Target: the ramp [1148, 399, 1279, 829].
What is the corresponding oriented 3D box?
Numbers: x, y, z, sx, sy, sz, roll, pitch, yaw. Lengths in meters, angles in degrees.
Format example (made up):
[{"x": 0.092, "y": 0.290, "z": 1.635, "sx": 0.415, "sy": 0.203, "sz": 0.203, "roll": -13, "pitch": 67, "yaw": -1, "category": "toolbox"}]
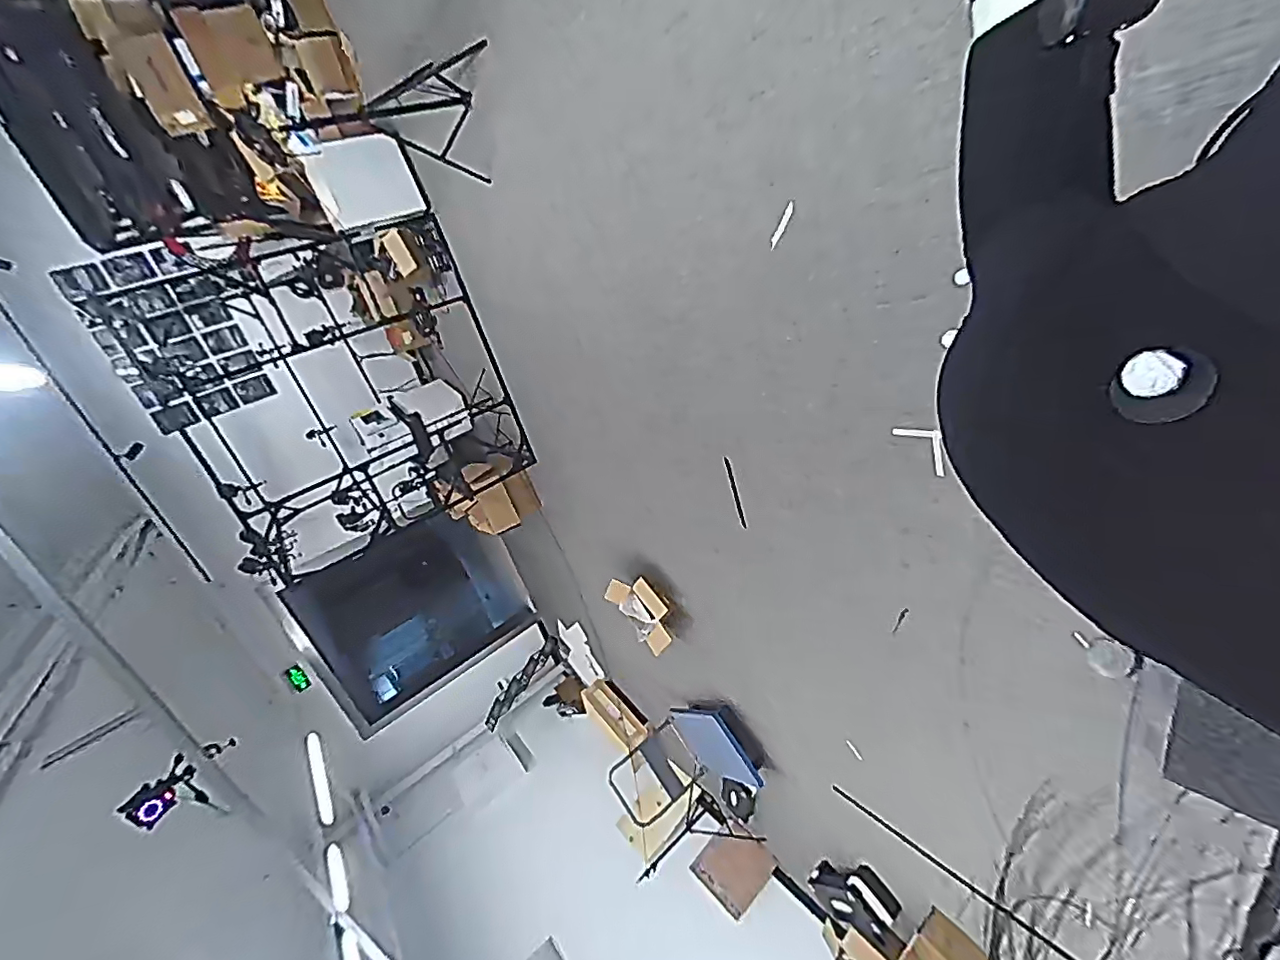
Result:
[{"x": 1.416, "y": 0.338, "z": 1.087, "sx": 0.509, "sy": 0.206, "sz": 0.991, "roll": 15, "pitch": 129, "yaw": 54, "category": "ramp"}]
